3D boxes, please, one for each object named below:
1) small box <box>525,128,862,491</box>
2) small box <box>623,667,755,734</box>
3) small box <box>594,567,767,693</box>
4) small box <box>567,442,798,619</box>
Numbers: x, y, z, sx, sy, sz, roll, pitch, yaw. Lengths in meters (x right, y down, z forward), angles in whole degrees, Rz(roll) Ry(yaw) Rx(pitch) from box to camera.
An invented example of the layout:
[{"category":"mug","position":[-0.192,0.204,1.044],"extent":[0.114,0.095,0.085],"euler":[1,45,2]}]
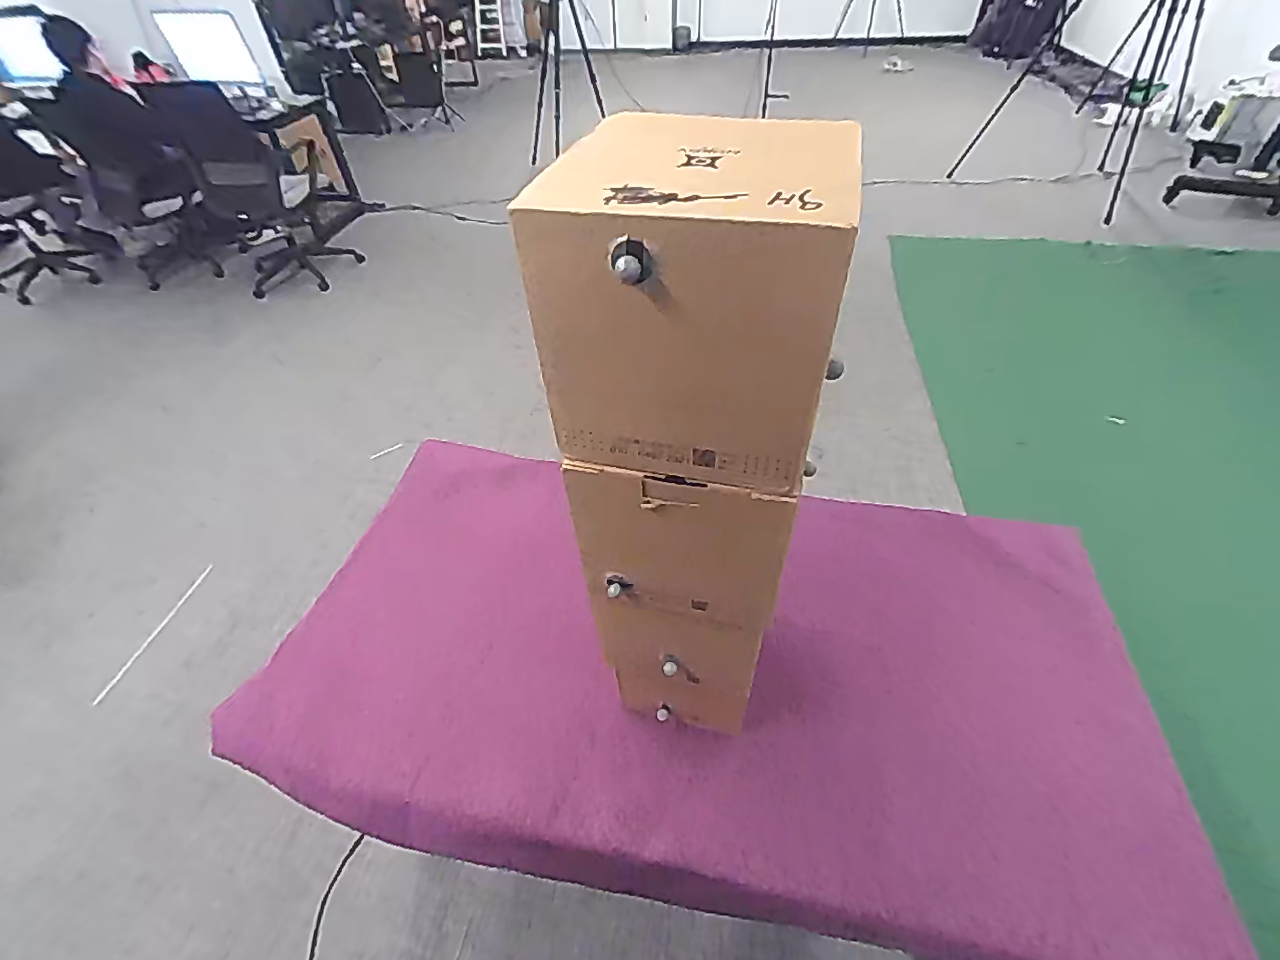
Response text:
[{"category":"small box","position":[0.045,-0.120,0.366],"extent":[0.168,0.176,0.179],"euler":[9,46,14]},{"category":"small box","position":[0.074,0.210,0.730],"extent":[0.168,0.176,0.179],"euler":[9,48,13]},{"category":"small box","position":[0.058,0.106,0.604],"extent":[0.168,0.176,0.179],"euler":[8,47,13]},{"category":"small box","position":[0.052,-0.002,0.480],"extent":[0.168,0.176,0.179],"euler":[9,46,13]}]
